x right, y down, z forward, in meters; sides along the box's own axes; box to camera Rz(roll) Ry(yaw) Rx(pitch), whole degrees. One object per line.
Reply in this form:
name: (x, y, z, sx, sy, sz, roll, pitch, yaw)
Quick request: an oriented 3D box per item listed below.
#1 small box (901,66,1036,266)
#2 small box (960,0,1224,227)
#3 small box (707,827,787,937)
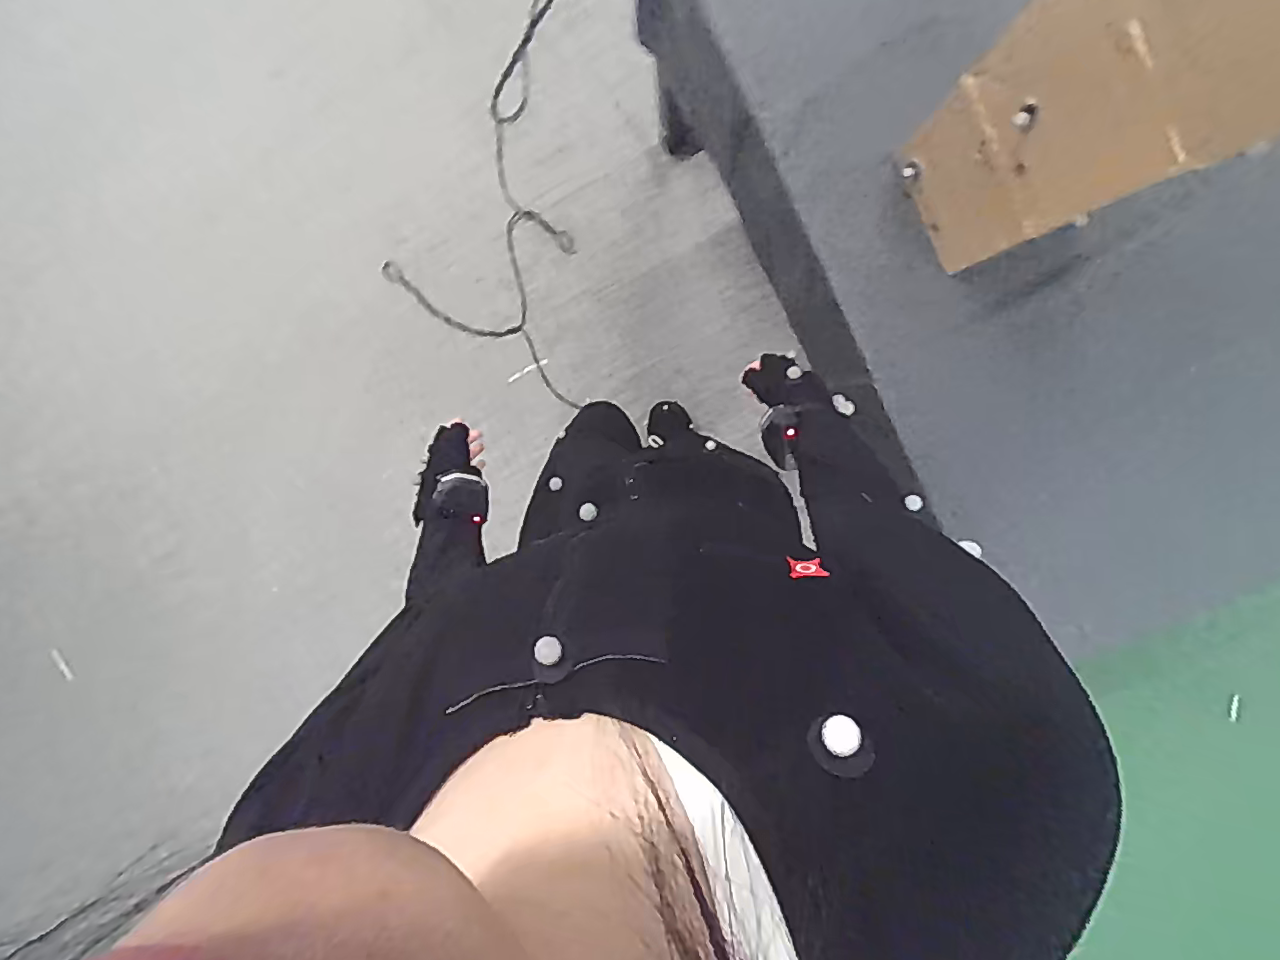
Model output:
small box: (0.418, -0.364, 0.595, 0.179, 0.176, 0.168, -28, 95, 6)
small box: (0.408, -0.340, 0.435, 0.179, 0.176, 0.168, -27, 96, 7)
small box: (0.298, 1.135, 1.545, 0.168, 0.176, 0.179, -22, 96, 7)
